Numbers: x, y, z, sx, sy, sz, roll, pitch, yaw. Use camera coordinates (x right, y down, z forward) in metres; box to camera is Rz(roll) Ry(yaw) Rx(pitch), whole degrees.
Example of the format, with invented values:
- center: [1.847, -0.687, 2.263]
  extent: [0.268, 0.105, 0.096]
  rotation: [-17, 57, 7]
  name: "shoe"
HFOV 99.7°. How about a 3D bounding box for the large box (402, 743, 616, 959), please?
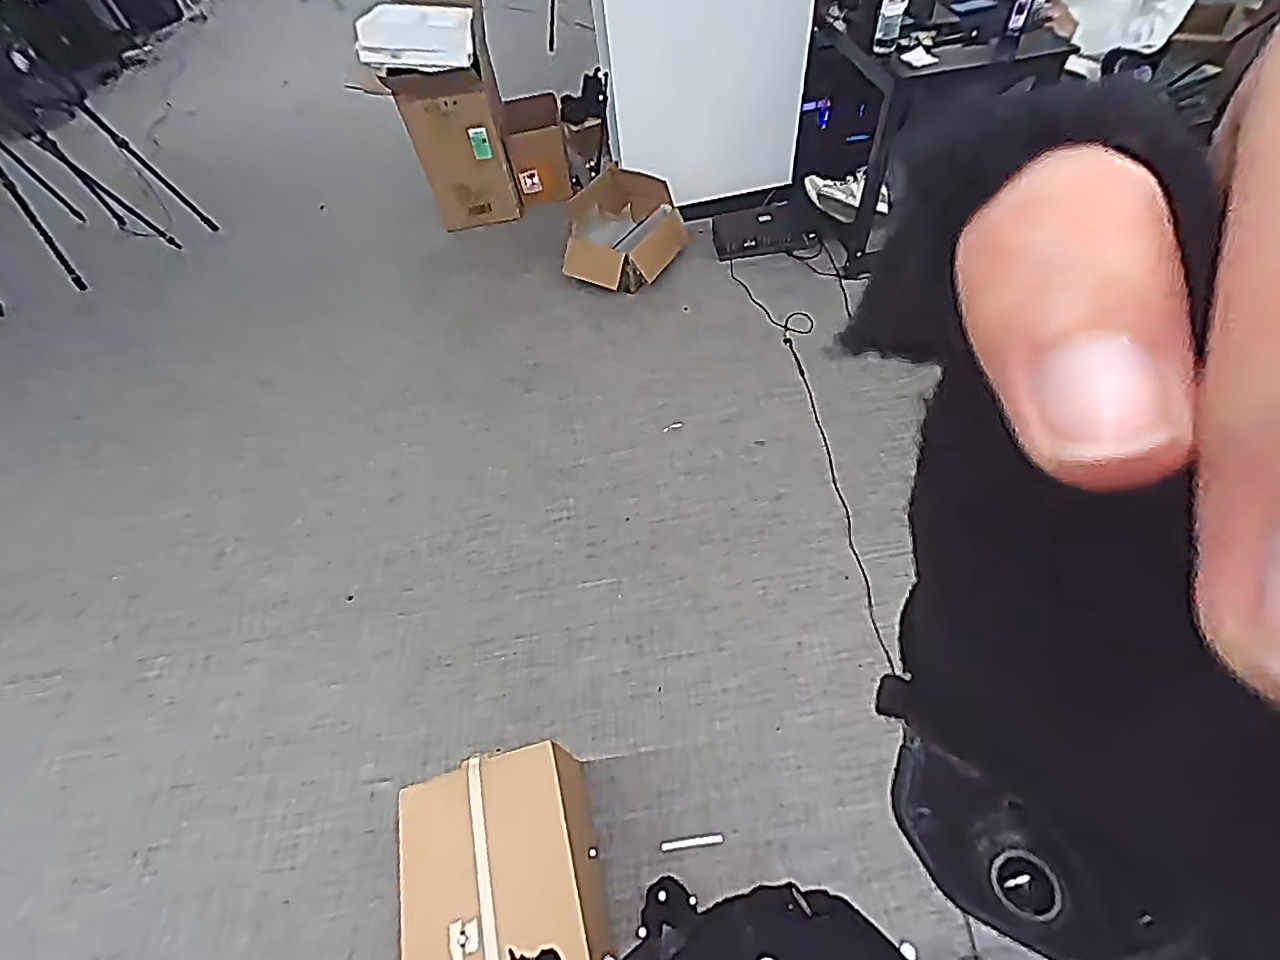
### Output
- center: [-0.260, 0.816, 1.104]
  extent: [0.320, 0.320, 0.408]
  rotation: [-17, 55, -4]
  name: "large box"
